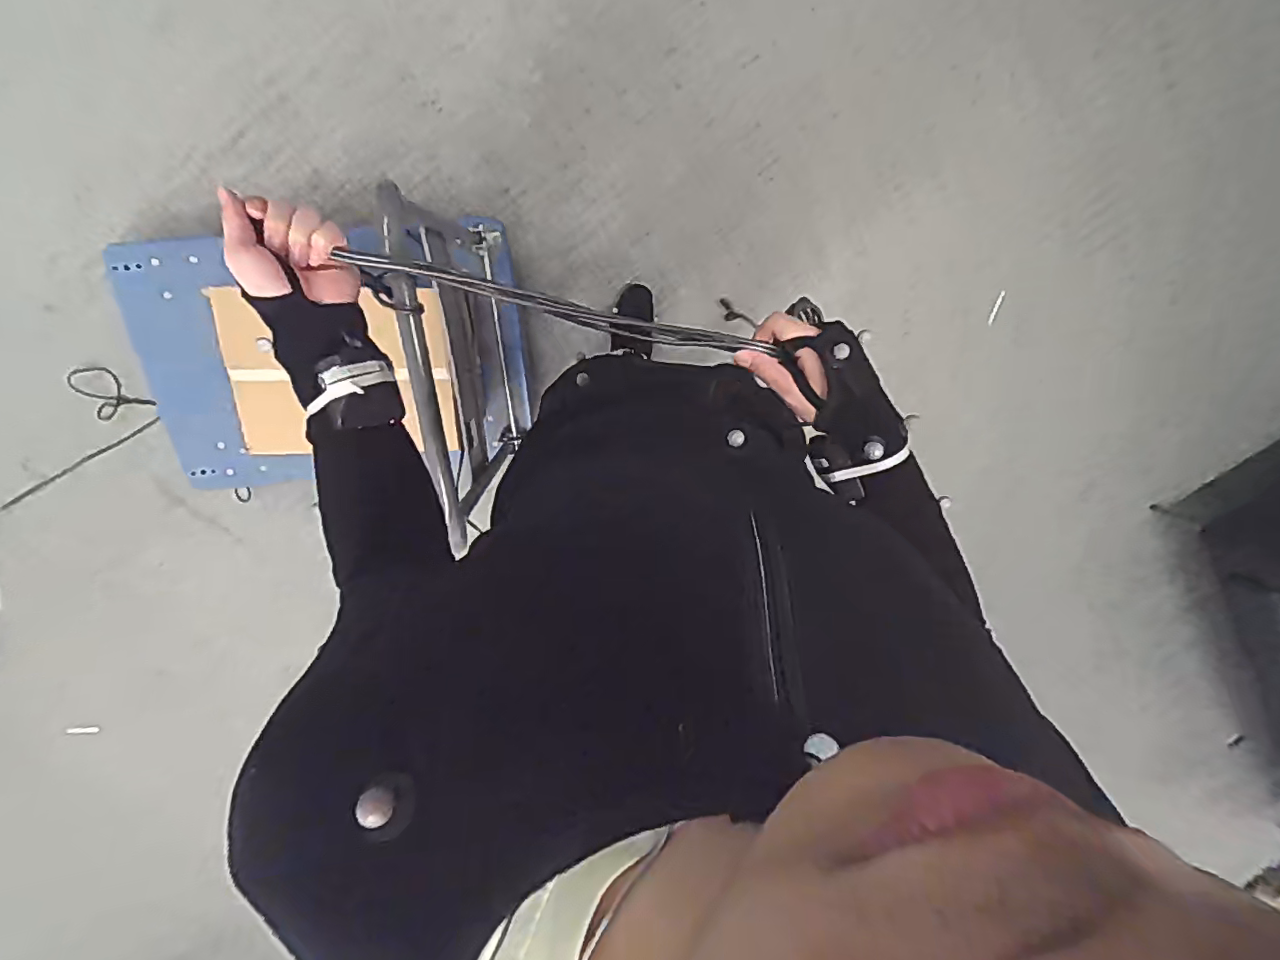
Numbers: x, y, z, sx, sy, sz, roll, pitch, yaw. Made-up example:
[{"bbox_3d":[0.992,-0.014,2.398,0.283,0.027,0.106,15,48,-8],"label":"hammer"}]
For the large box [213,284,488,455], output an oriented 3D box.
[{"bbox_3d":[-0.566,-0.251,1.152,0.408,0.320,0.320,-1,109,-5],"label":"large box"}]
